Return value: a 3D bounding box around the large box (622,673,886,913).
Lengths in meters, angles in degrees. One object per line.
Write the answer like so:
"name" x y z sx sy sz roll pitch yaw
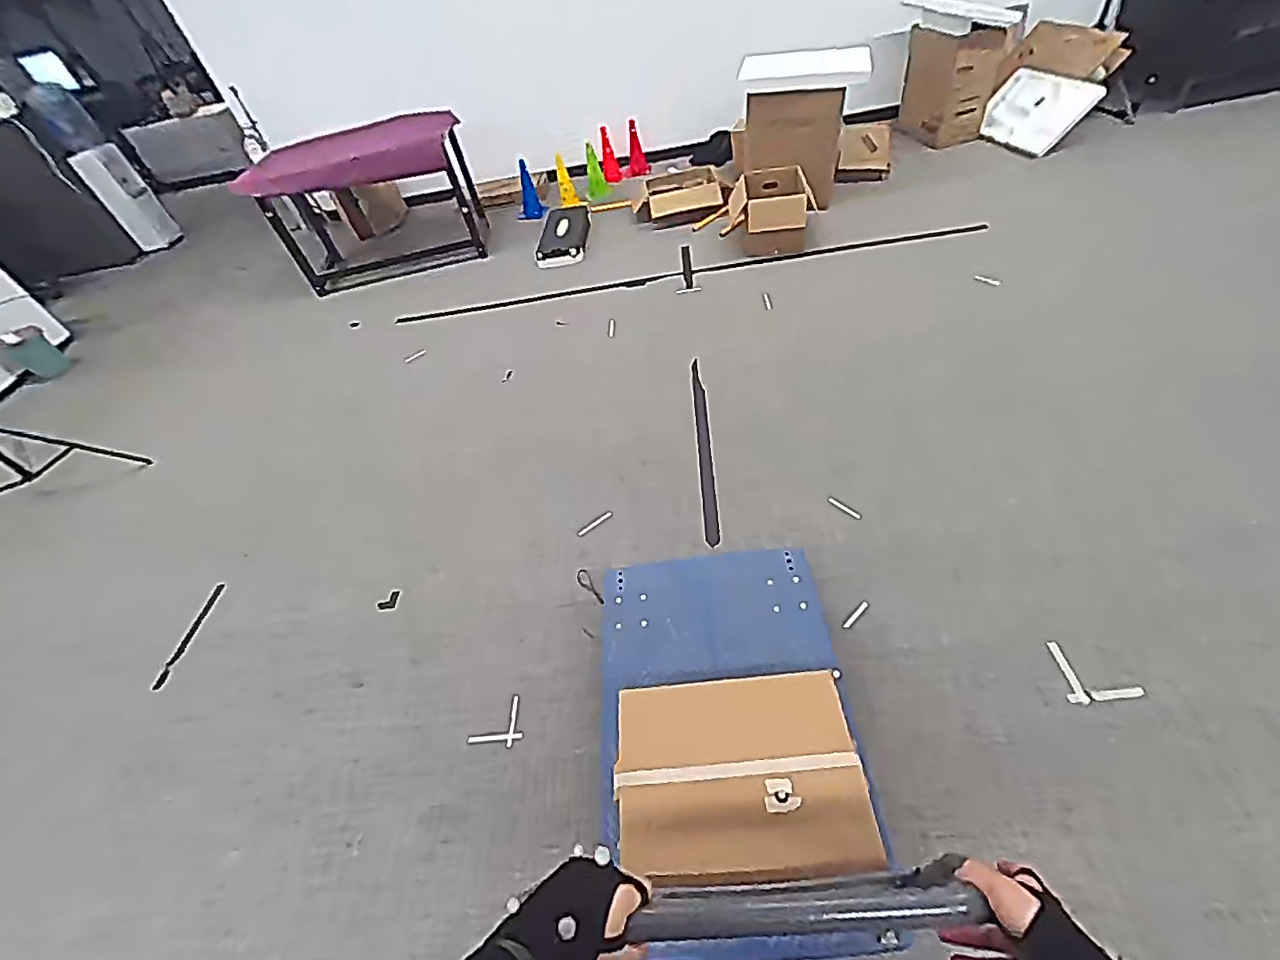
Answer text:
"large box" 0.188 0.599 1.029 0.408 0.320 0.320 -7 47 5
